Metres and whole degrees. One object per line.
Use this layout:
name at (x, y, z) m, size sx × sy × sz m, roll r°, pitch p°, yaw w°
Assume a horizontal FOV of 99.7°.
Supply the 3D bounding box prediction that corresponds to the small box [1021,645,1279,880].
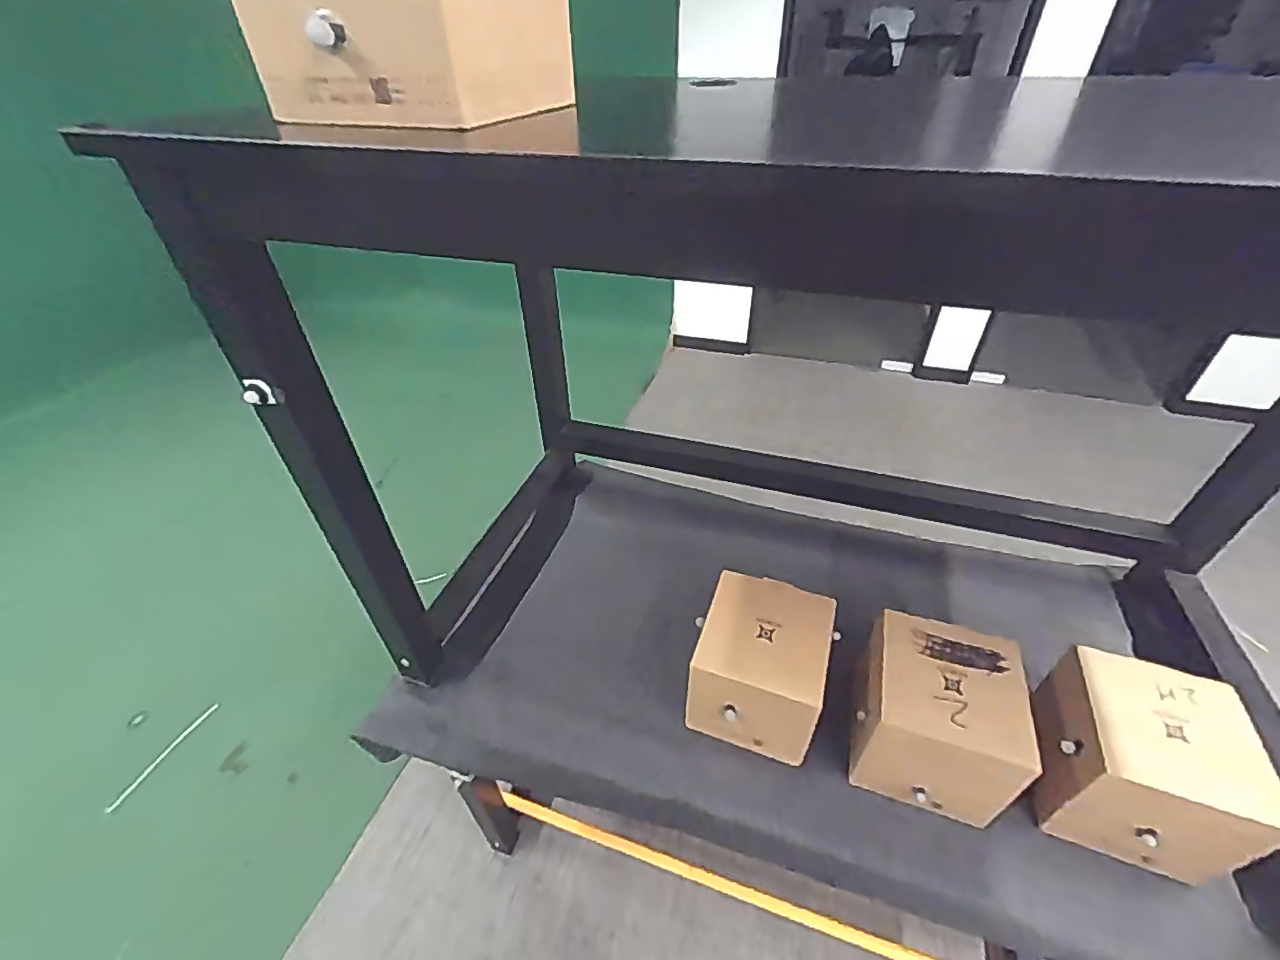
small box at (0.601, 0.344, 0.663) m, size 0.168 × 0.176 × 0.179 m, roll 14°, pitch 41°, yaw 18°

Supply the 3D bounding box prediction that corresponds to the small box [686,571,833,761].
small box at (0.170, 0.266, 0.777) m, size 0.168 × 0.176 × 0.179 m, roll 13°, pitch 41°, yaw 17°

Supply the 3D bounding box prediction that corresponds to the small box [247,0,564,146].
small box at (-0.165, -0.358, 0.395) m, size 0.168 × 0.176 × 0.179 m, roll 12°, pitch 42°, yaw 15°
